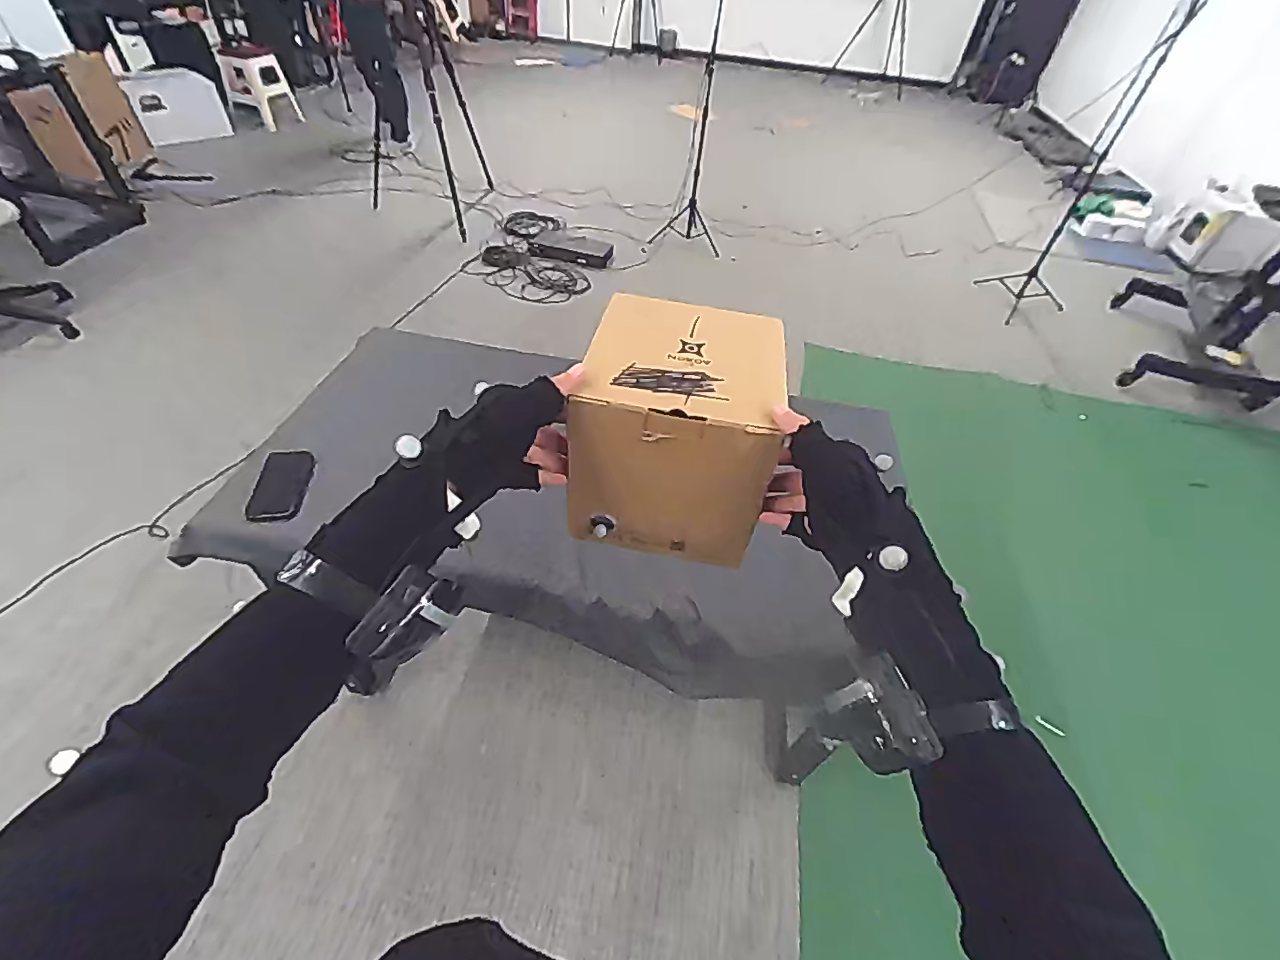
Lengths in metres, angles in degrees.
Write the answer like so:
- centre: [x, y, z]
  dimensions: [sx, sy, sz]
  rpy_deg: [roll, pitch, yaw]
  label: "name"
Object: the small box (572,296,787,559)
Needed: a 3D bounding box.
- centre: [0.037, -0.048, 0.516]
  dimensions: [0.168, 0.176, 0.179]
  rpy_deg: [11, 44, 3]
  label: "small box"
